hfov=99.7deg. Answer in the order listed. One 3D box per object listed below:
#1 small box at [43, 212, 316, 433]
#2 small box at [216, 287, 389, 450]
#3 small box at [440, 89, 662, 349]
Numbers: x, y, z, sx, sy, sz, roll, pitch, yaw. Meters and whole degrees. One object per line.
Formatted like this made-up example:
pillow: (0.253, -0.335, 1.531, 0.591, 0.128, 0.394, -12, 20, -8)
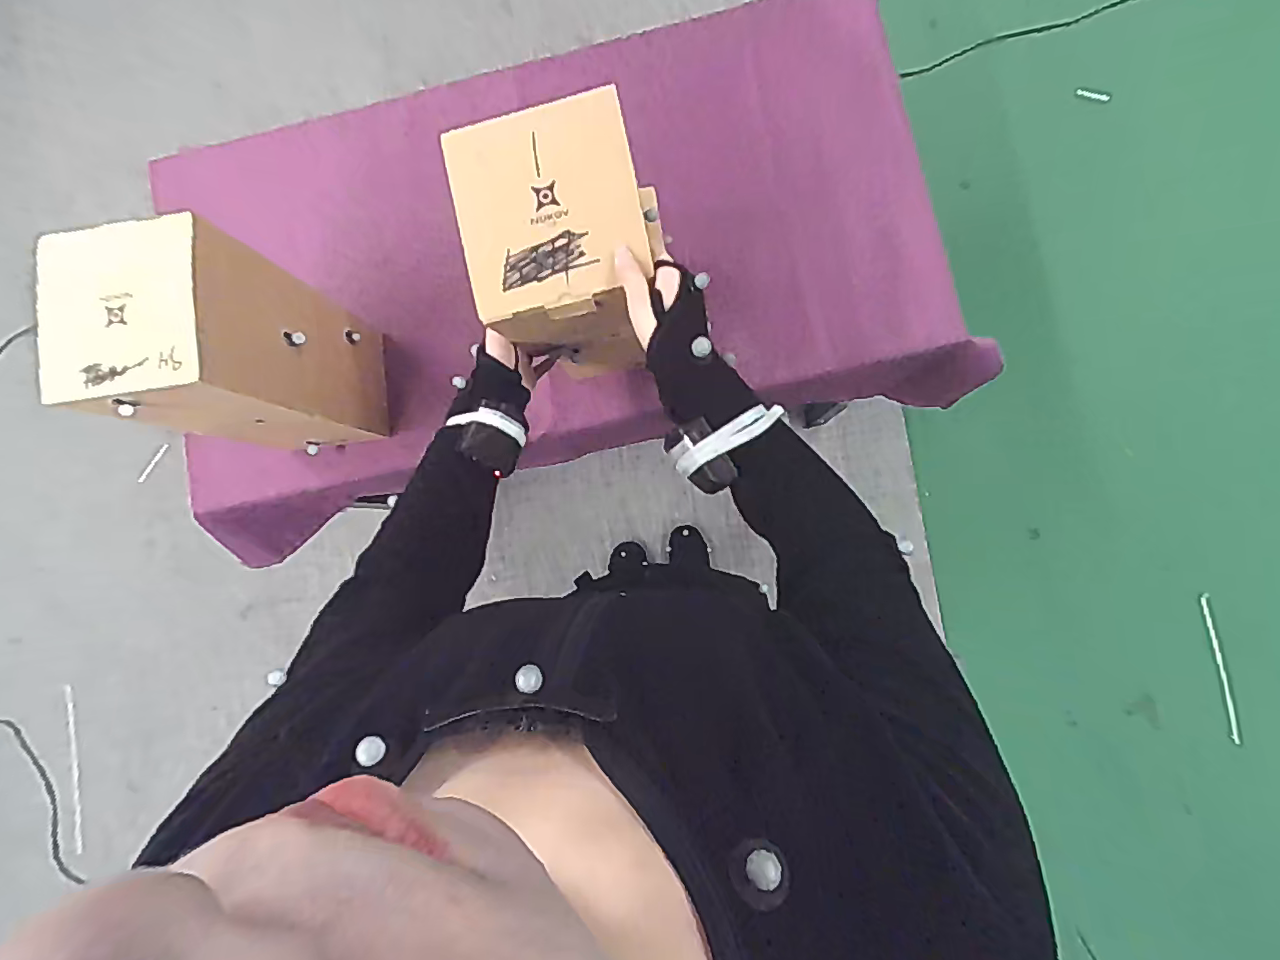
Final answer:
small box: (-0.497, -0.162, 0.608, 0.168, 0.176, 0.179, -7, 84, 5)
small box: (-0.483, -0.148, 0.772, 0.168, 0.176, 0.179, -7, 85, 4)
small box: (-0.076, -0.244, 0.559, 0.168, 0.176, 0.179, -12, 91, 6)
